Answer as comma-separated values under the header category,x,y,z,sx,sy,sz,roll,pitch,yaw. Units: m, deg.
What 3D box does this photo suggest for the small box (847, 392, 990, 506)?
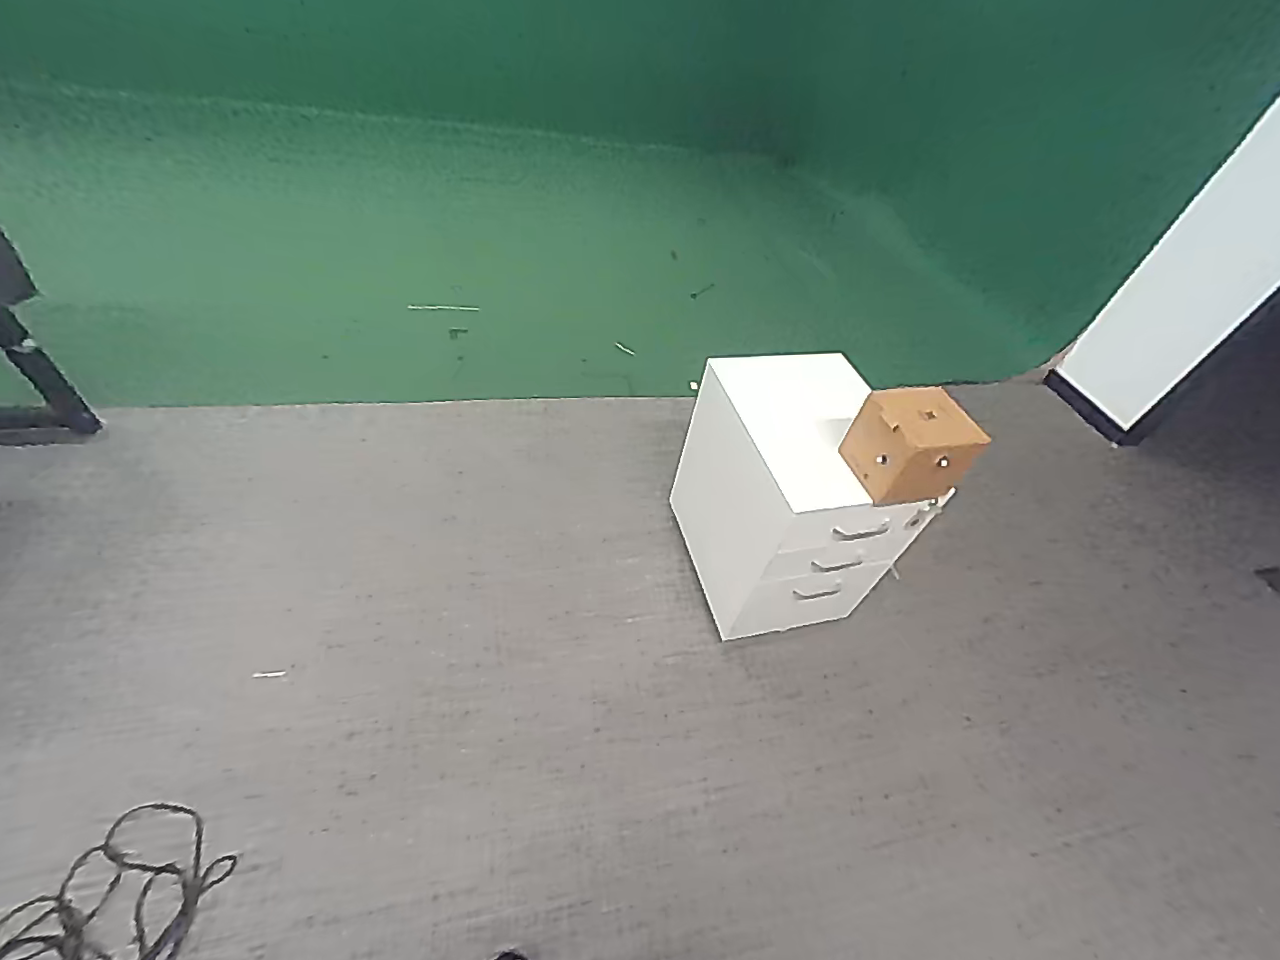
category,x,y,z,sx,sy,sz,roll,pitch,yaw
small box,0.551,-0.061,1.104,0.179,0.176,0.168,-5,49,-16
